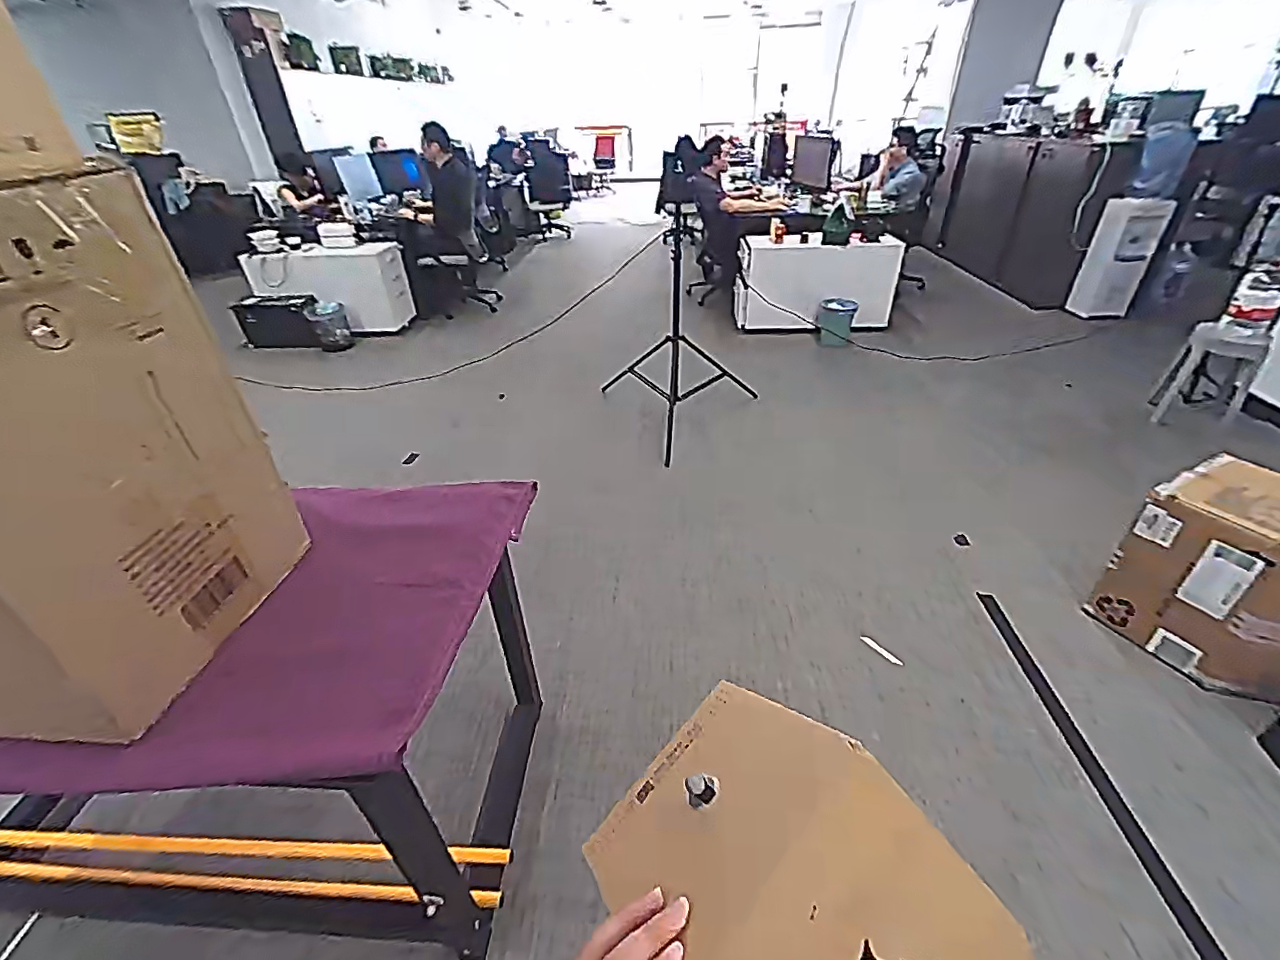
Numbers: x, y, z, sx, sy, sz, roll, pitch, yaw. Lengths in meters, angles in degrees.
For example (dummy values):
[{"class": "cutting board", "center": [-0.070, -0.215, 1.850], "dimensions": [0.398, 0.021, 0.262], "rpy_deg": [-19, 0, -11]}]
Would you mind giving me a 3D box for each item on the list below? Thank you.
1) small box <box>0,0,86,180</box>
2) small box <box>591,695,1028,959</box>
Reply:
[{"class": "small box", "center": [-0.763, -0.403, 0.561], "dimensions": [0.179, 0.176, 0.168], "rpy_deg": [-3, 34, 1]}, {"class": "small box", "center": [0.092, 0.268, 0.357], "dimensions": [0.168, 0.179, 0.176], "rpy_deg": [-43, 8, -19]}]
